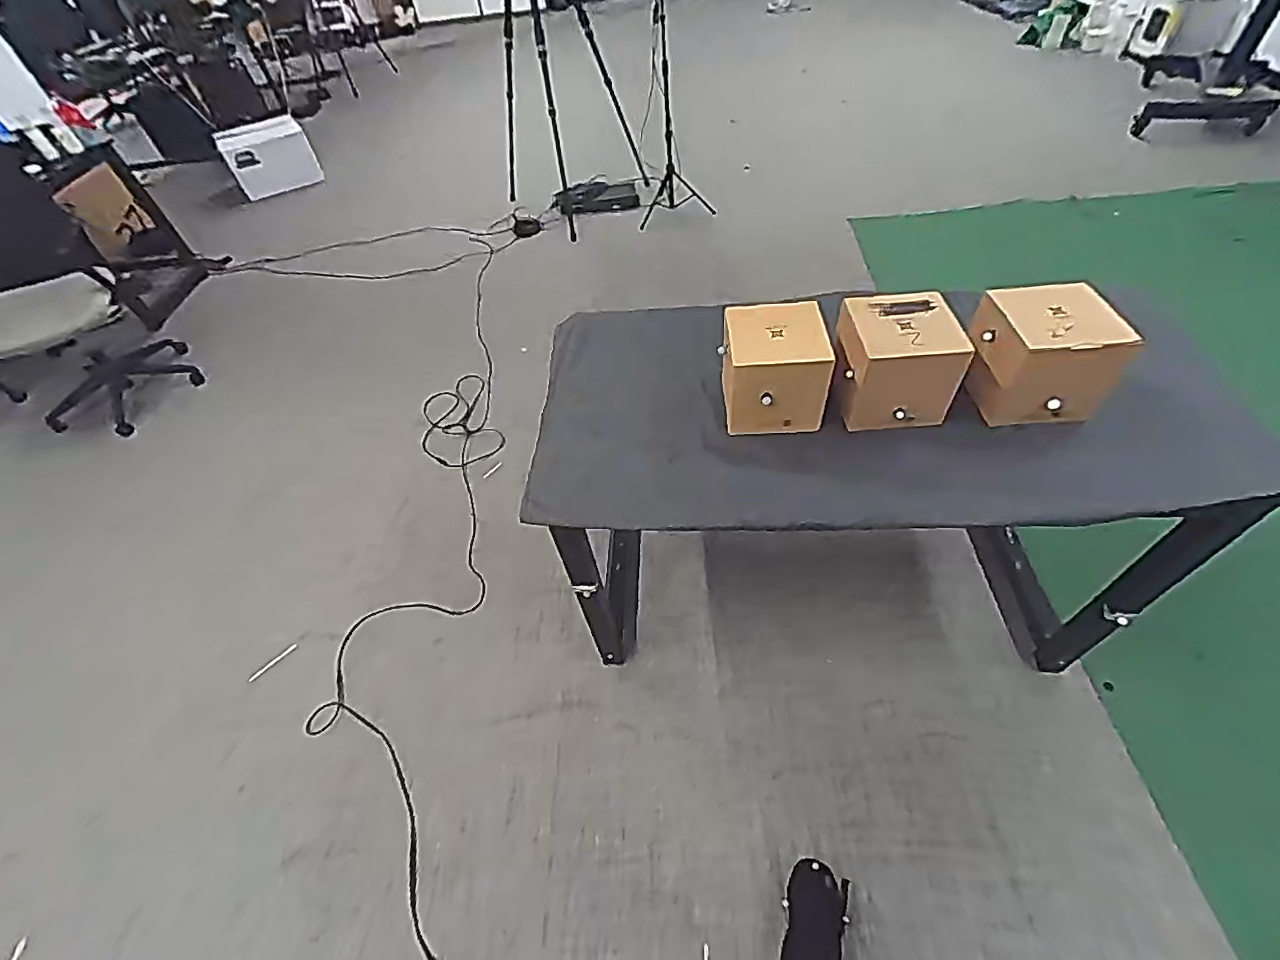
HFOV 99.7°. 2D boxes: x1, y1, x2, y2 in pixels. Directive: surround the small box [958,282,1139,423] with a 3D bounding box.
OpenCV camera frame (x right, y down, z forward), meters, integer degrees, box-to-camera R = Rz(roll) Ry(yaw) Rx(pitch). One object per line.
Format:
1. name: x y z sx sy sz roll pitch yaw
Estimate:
1. small box: 0.691 -0.220 0.945 0.168 0.176 0.179 -3 50 5
